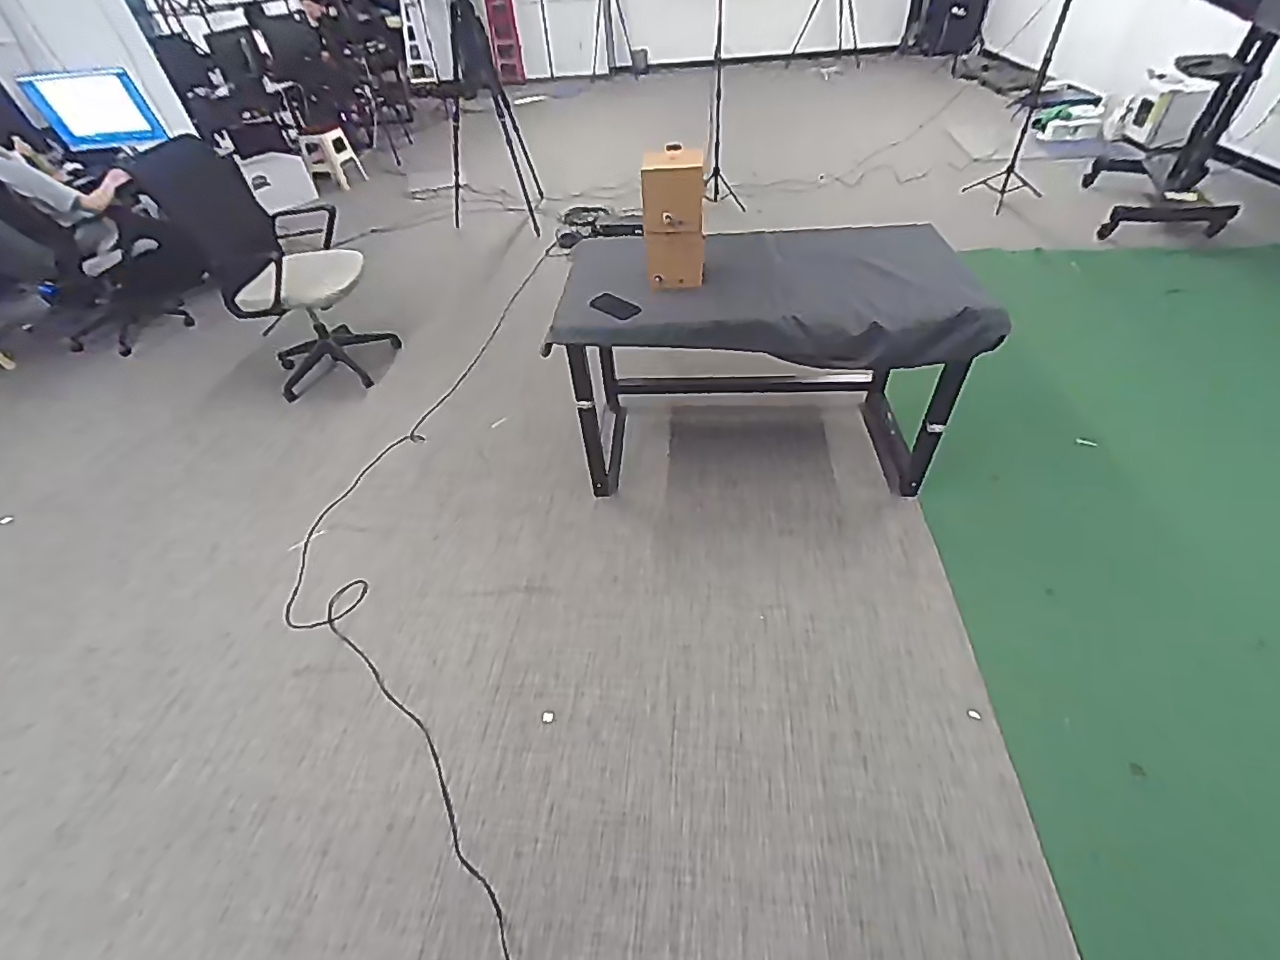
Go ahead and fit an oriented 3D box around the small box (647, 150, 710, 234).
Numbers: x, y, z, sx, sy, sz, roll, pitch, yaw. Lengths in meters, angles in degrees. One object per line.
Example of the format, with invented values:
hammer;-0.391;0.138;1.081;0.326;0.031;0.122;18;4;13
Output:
small box;0.112;-0.812;1.528;0.168;0.176;0.179;0;46;7

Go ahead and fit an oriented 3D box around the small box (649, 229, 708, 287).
small box;0.122;-0.701;1.646;0.168;0.176;0.179;2;44;7
